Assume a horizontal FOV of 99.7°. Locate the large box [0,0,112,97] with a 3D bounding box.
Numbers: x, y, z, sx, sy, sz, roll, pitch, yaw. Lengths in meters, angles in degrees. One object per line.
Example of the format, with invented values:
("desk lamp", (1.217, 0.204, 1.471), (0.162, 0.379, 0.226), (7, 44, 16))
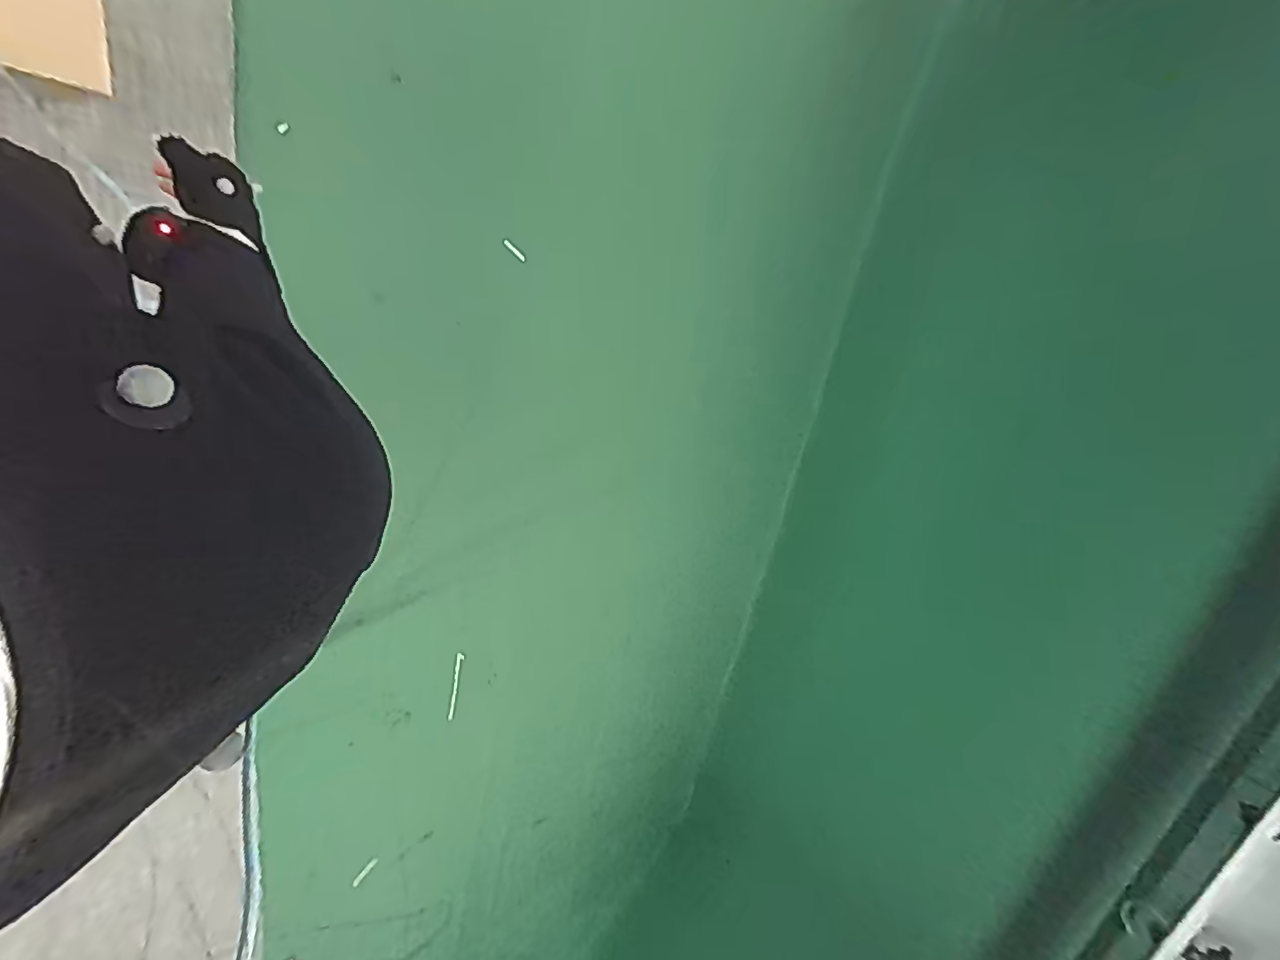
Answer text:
("large box", (-0.970, -0.721, 0.658), (0.408, 0.320, 0.320), (-13, 122, -49))
